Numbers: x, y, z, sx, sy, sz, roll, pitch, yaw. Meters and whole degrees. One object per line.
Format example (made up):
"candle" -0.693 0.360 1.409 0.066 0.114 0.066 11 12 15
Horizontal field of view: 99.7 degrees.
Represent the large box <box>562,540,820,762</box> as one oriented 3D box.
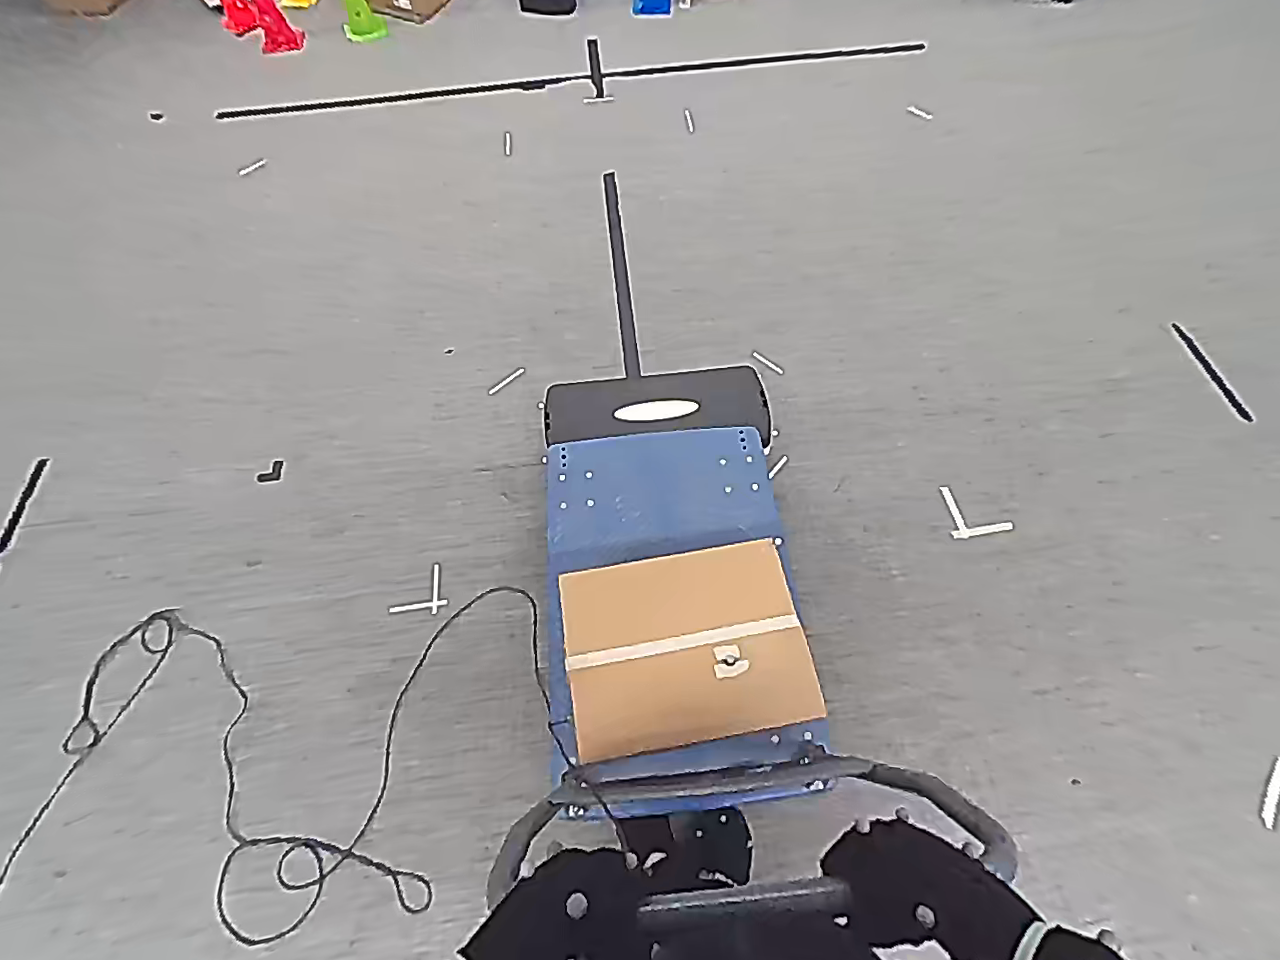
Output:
"large box" 0.078 0.350 1.076 0.408 0.320 0.320 -9 64 -5
